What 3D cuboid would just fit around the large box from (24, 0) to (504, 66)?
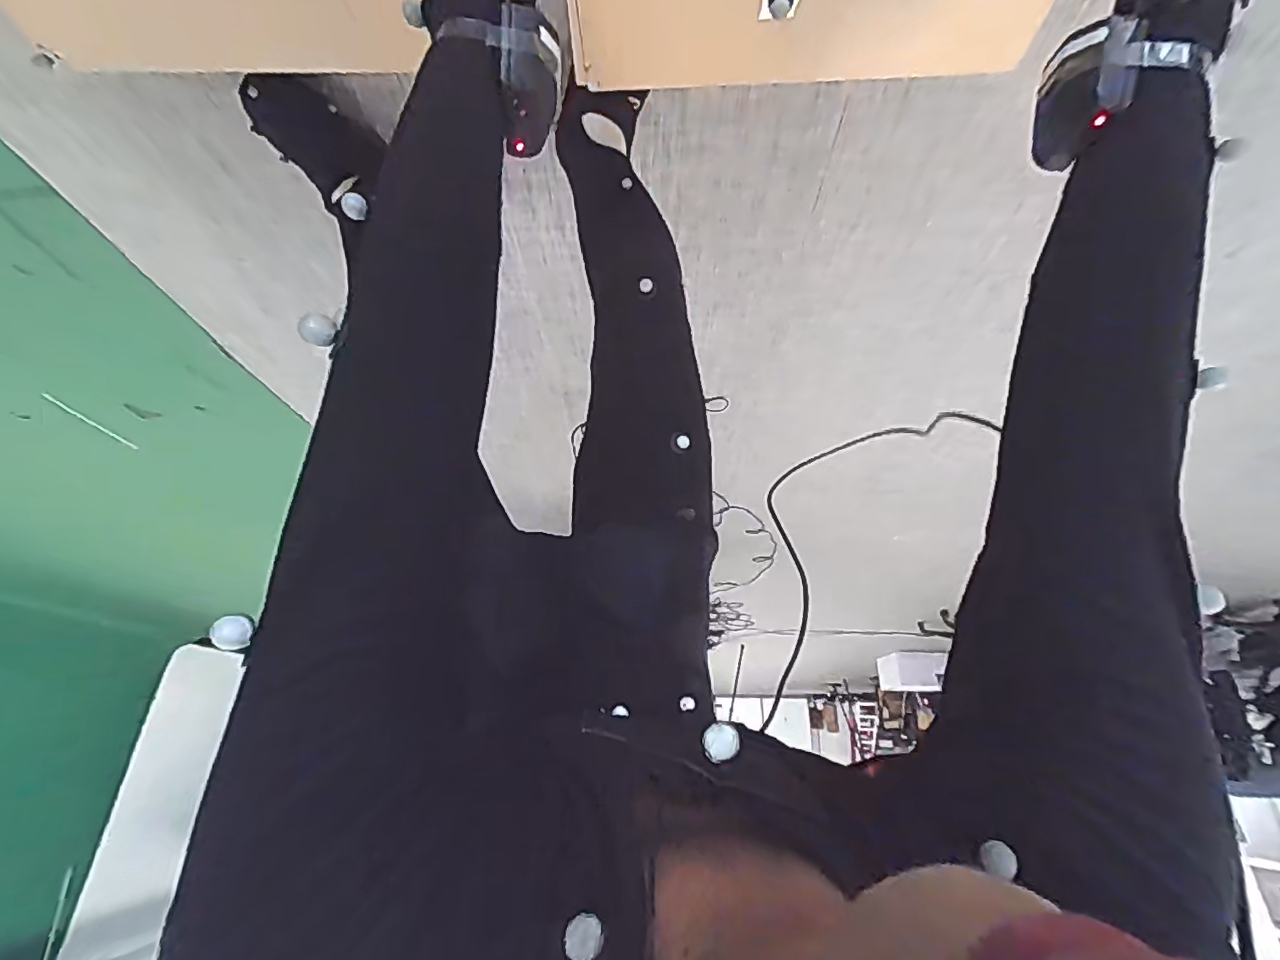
[{"bbox_3d":[-0.333,-0.595,0.437,0.408,0.320,0.320,2,153,0],"label":"large box"}]
